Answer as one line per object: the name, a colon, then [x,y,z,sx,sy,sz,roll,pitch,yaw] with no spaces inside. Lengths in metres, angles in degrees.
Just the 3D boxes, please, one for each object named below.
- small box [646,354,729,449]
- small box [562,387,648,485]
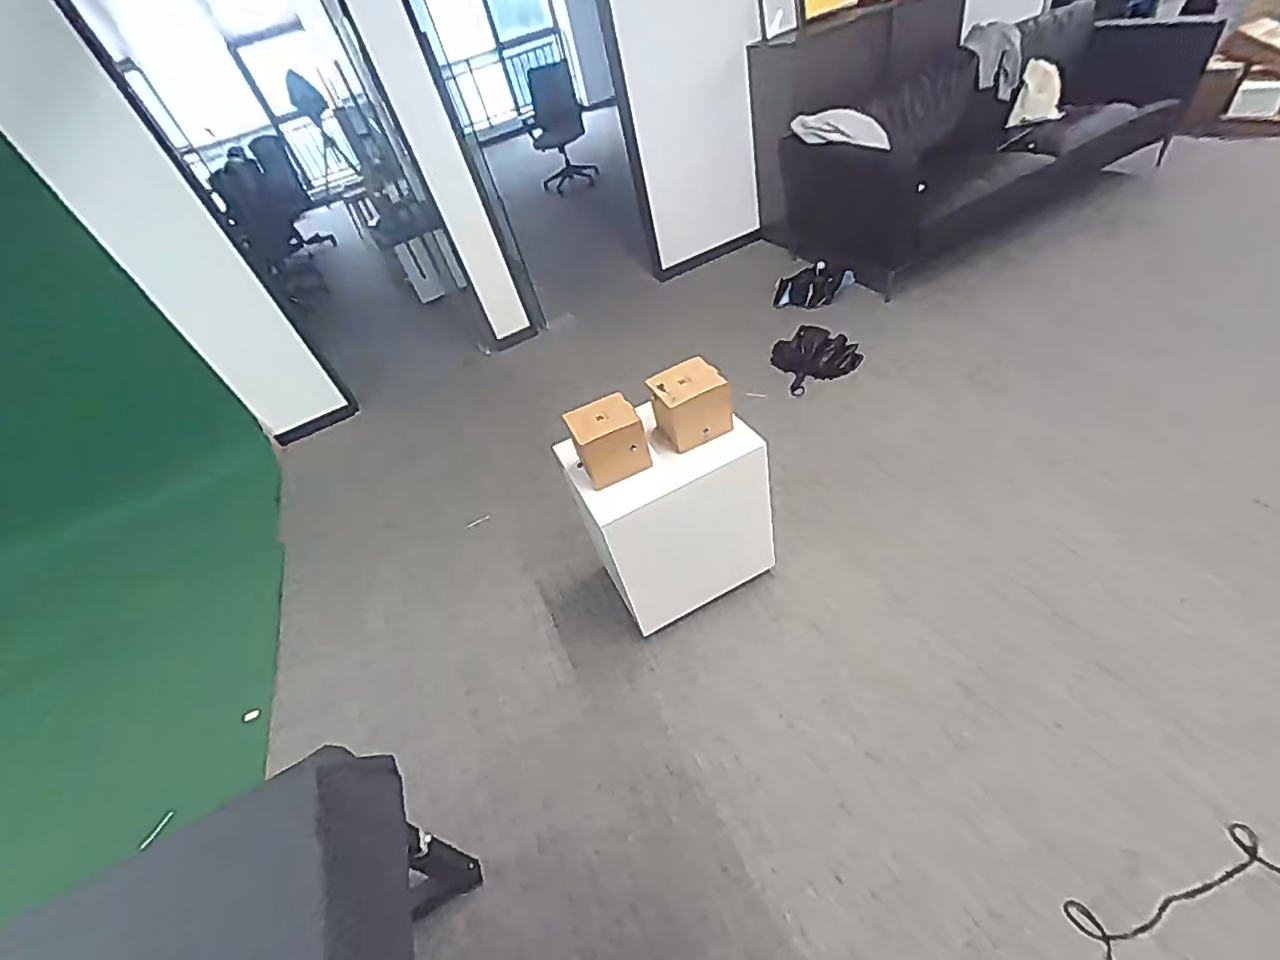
small box: [0.136,-0.218,1.507,0.179,0.176,0.168,-24,44,-10]
small box: [-0.089,-0.118,1.471,0.179,0.176,0.168,-25,43,-10]
